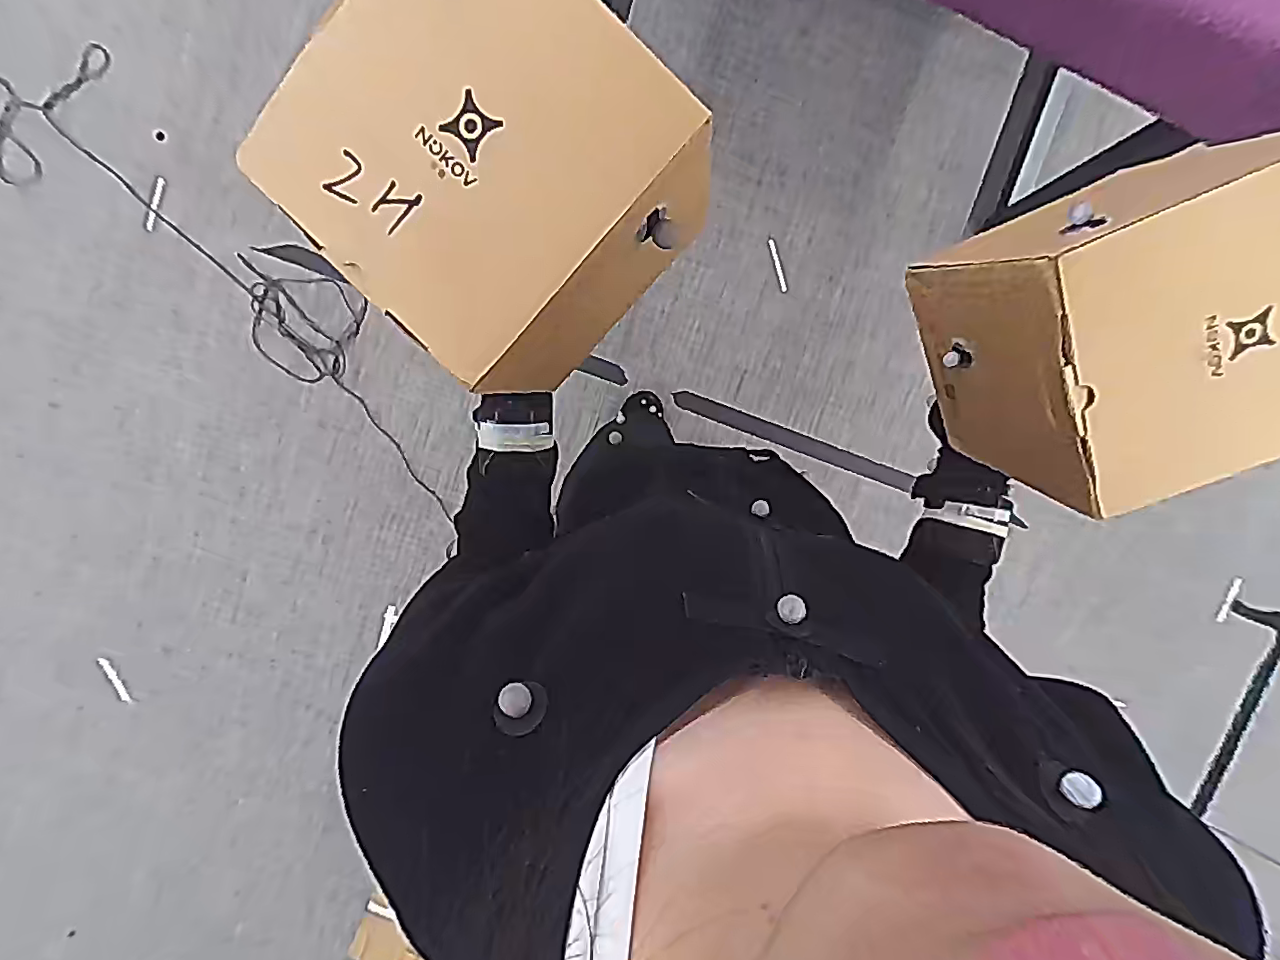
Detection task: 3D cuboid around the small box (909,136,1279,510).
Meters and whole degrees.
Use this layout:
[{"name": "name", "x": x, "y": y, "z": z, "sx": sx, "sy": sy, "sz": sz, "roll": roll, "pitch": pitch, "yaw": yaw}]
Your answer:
[{"name": "small box", "x": 0.324, "y": -0.110, "z": 0.373, "sx": 0.179, "sy": 0.176, "sz": 0.168, "roll": -23, "pitch": 108, "yaw": 8}]

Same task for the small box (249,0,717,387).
[{"name": "small box", "x": -0.073, "y": -0.178, "z": 0.337, "sx": 0.168, "sy": 0.176, "sz": 0.179, "roll": 44, "pitch": 102, "yaw": -2}]
